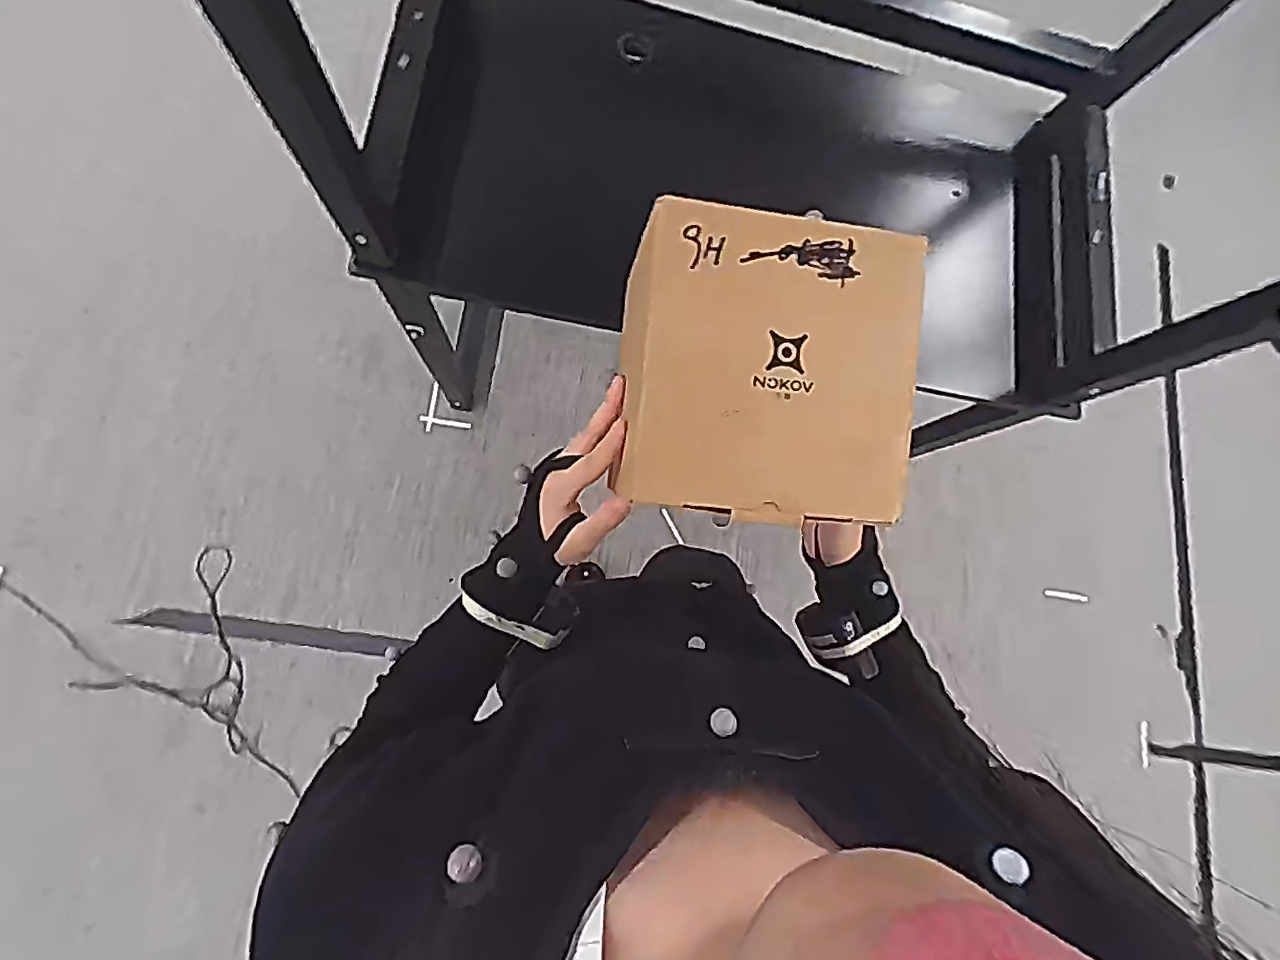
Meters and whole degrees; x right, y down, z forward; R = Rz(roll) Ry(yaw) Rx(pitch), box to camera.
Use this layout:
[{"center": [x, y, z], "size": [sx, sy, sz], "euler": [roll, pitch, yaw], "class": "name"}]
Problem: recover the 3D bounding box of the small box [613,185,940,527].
[{"center": [0.073, -0.071, 0.383], "size": [0.168, 0.176, 0.179], "euler": [5, 93, -8], "class": "small box"}]
